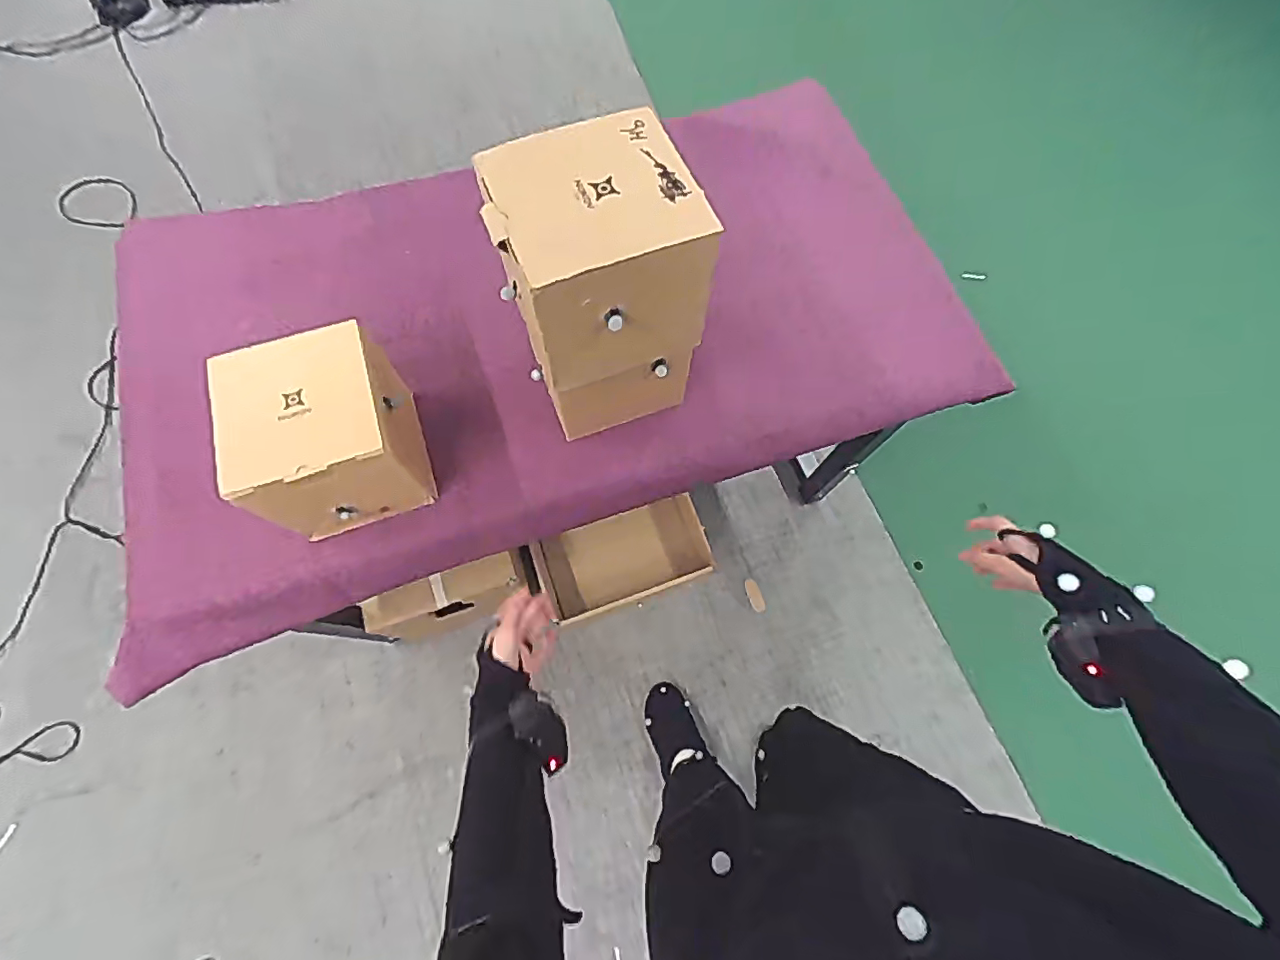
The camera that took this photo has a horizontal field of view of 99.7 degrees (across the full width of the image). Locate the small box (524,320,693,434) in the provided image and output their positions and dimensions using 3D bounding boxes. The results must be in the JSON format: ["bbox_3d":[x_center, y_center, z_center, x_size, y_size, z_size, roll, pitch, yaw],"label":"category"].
[{"bbox_3d":[-0.049,-0.184,0.698,0.179,0.176,0.168,-20,71,-7],"label":"small box"}]

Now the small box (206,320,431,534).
[{"bbox_3d":[-0.373,-0.055,0.651,0.168,0.176,0.179,-19,71,-8],"label":"small box"}]

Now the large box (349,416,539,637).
[{"bbox_3d":[-0.463,0.124,1.289,0.320,0.320,0.408,-19,73,-8],"label":"large box"}]

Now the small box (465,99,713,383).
[{"bbox_3d":[-0.046,-0.223,0.538,0.179,0.176,0.168,-21,72,-7],"label":"small box"}]
